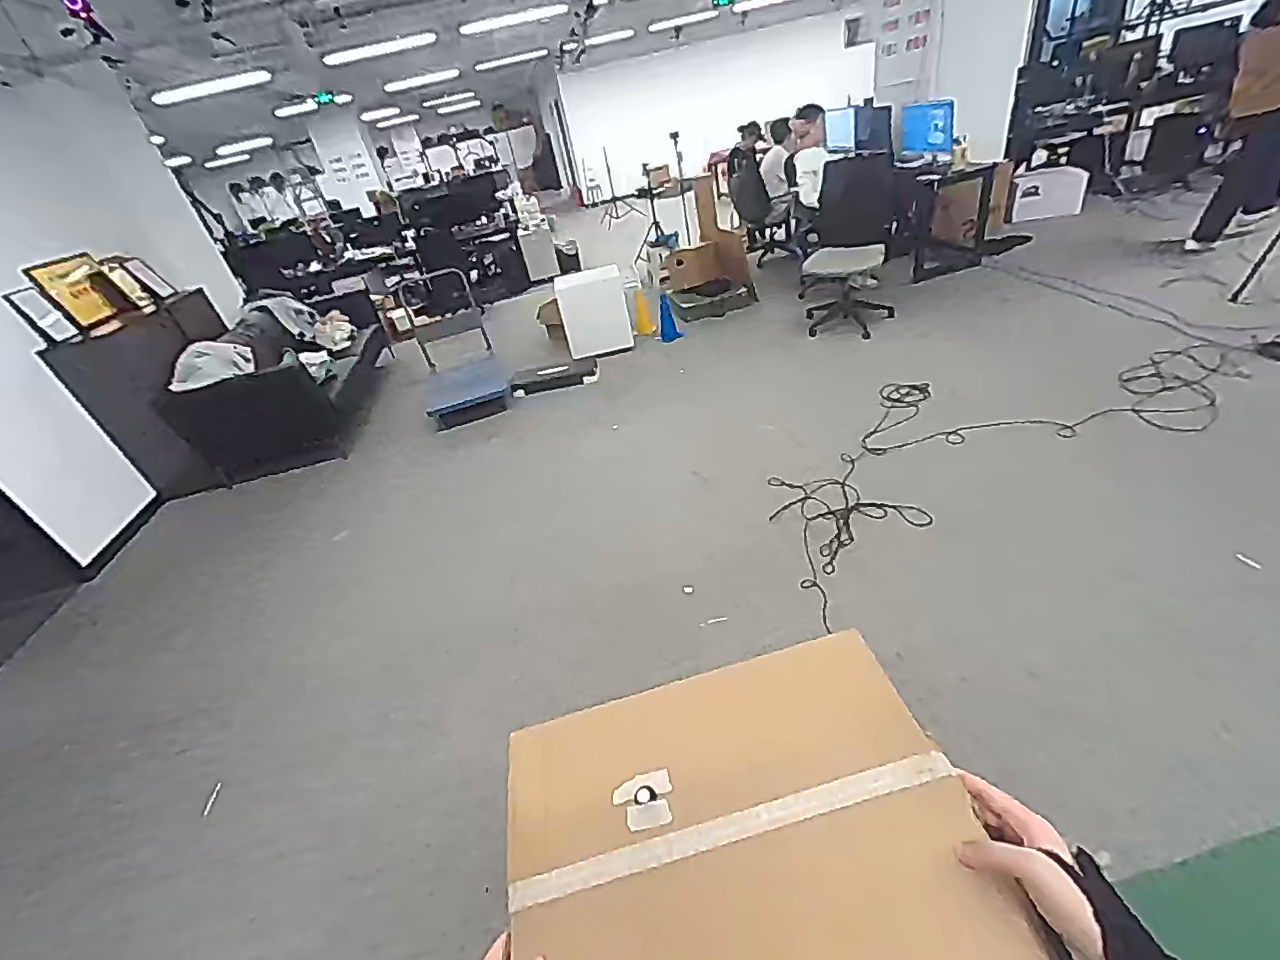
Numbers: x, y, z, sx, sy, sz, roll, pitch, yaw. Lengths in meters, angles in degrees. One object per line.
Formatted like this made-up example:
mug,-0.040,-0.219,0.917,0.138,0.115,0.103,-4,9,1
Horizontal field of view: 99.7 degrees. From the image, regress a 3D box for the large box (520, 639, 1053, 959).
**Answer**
large box,0.121,0.438,0.579,0.408,0.320,0.320,-18,37,1
